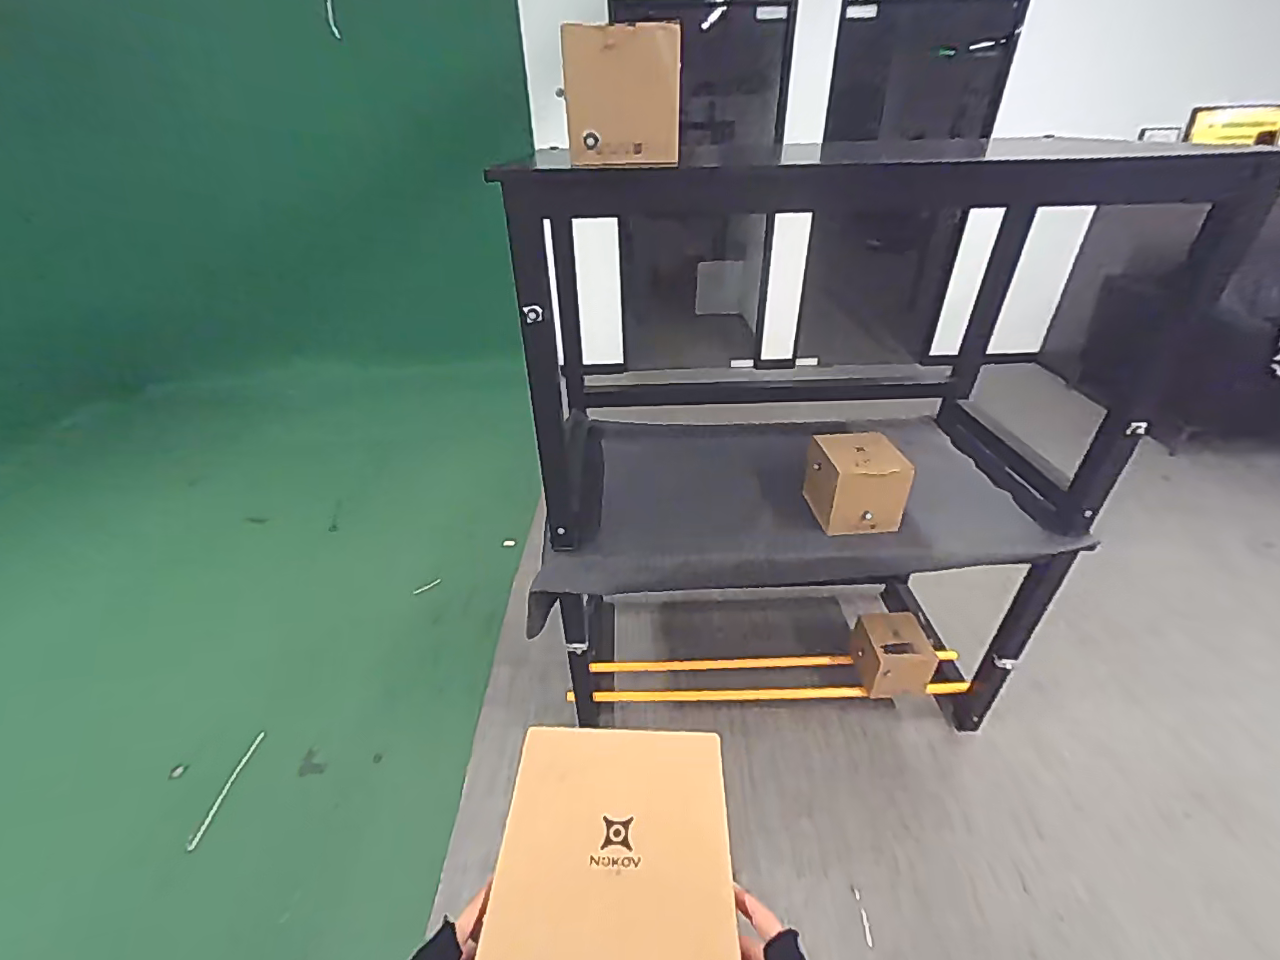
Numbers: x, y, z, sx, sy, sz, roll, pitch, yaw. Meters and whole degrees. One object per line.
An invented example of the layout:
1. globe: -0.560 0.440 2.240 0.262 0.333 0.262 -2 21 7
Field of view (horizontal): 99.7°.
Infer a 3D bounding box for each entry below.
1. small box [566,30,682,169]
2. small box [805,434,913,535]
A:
1. small box: -0.026 -0.593 0.857 0.168 0.176 0.179 -4 33 -5
2. small box: 0.495 0.008 1.257 0.168 0.176 0.179 -3 33 -2
